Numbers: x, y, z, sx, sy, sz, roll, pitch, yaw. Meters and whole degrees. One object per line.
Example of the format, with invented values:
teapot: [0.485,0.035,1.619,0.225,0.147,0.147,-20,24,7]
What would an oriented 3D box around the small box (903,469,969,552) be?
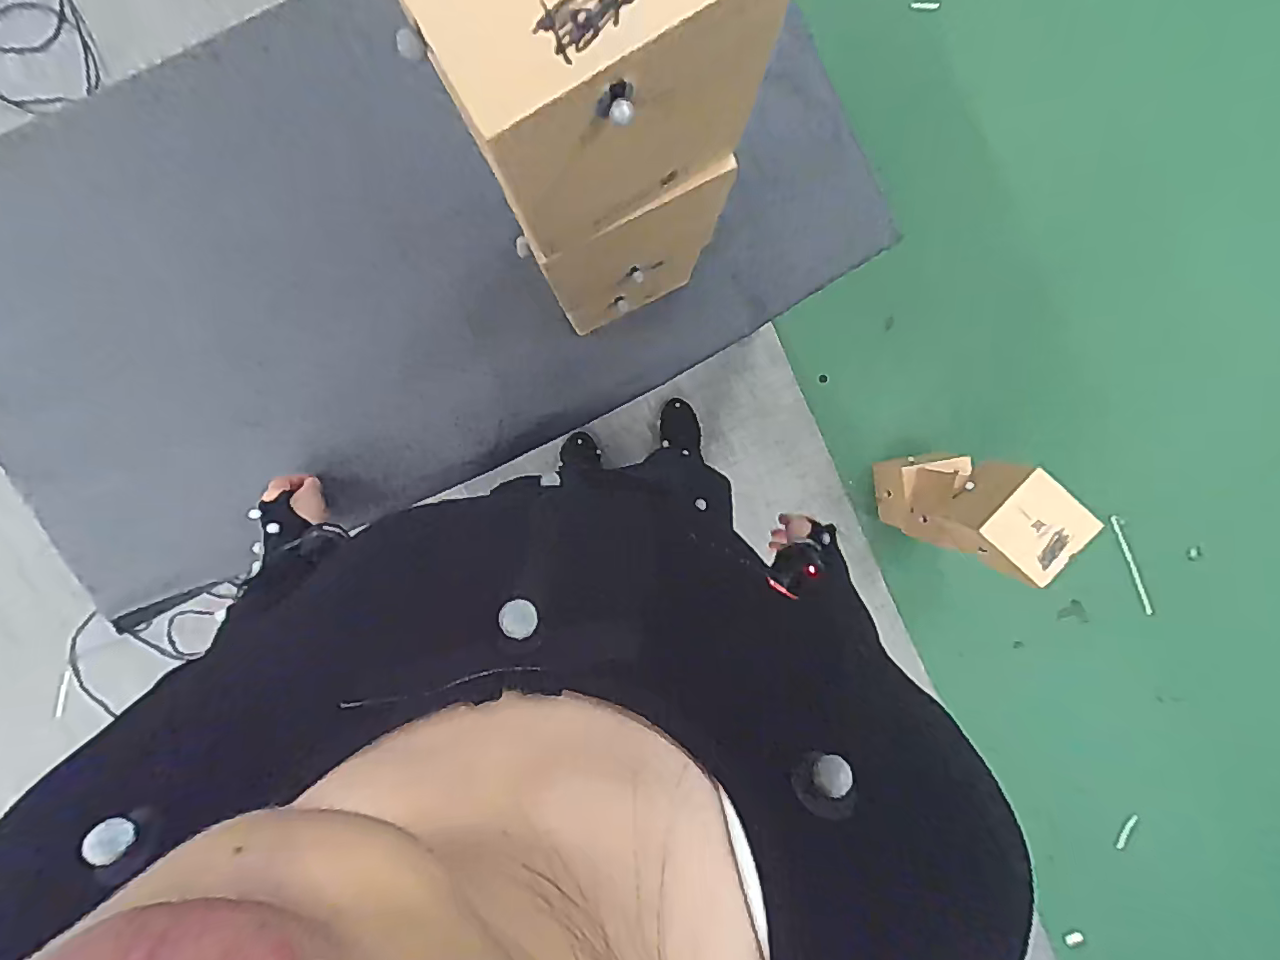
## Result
small box: [0.748,0.072,1.259,0.179,0.176,0.168,11,97,-3]

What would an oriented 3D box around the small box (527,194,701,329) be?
small box: [-0.044,-0.292,0.631,0.168,0.176,0.179,-26,95,1]

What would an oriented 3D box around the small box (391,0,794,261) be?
small box: [-0.041,-0.260,0.304,0.168,0.176,0.179,-30,94,2]

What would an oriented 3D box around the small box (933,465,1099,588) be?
small box: [0.748,0.083,1.095,0.179,0.176,0.168,41,95,-4]

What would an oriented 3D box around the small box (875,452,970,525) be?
small box: [0.736,0.024,1.417,0.179,0.176,0.168,-10,97,0]
